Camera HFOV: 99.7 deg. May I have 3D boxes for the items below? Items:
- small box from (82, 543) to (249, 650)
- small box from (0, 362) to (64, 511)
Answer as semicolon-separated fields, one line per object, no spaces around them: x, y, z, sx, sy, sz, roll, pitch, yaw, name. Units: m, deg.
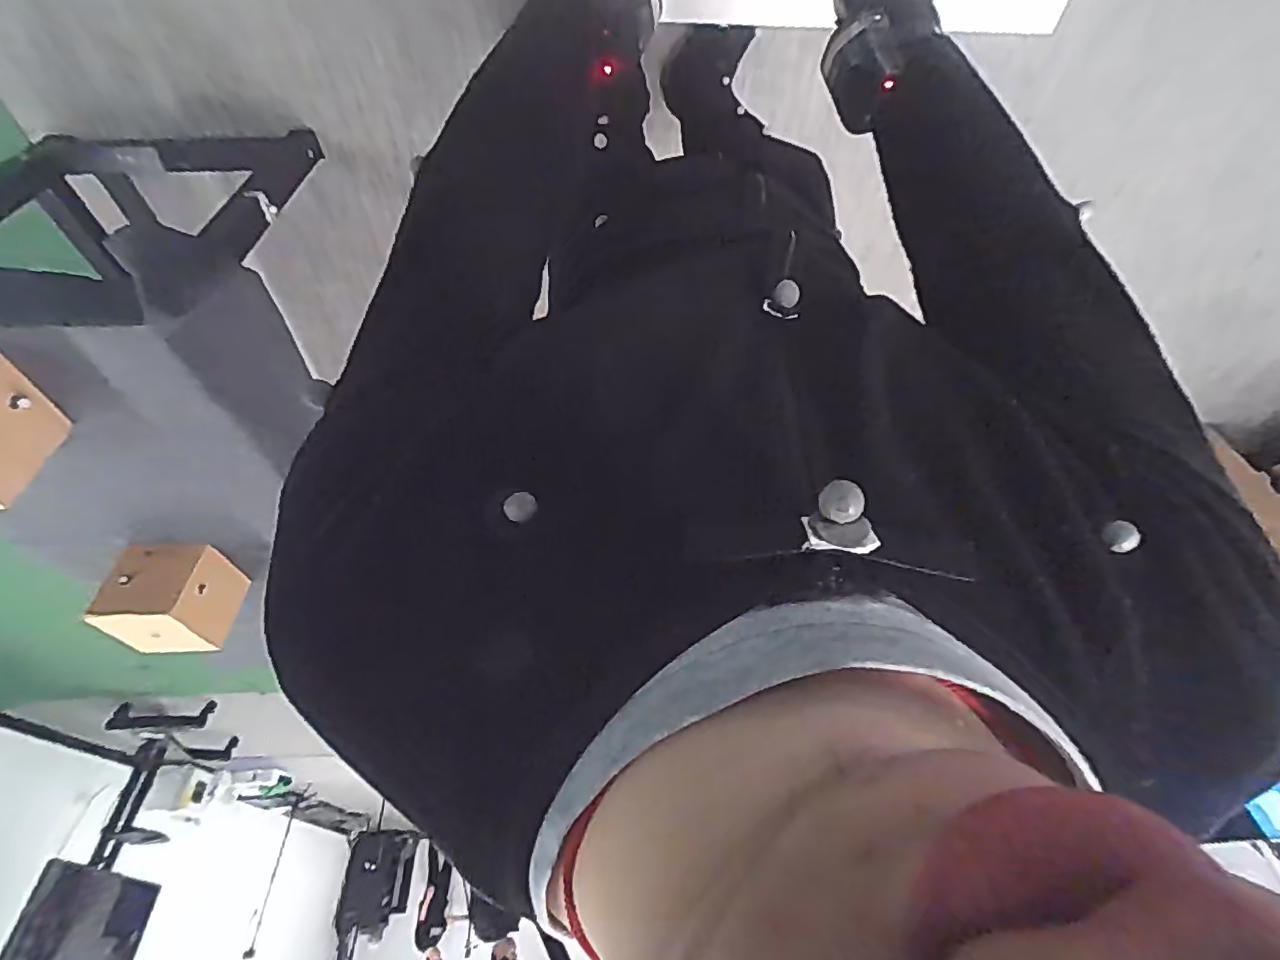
-0.974;0.241;1.131;0.168;0.176;0.179;-2;143;-2;small box
-0.959;-0.074;0.720;0.168;0.176;0.179;0;142;-7;small box
